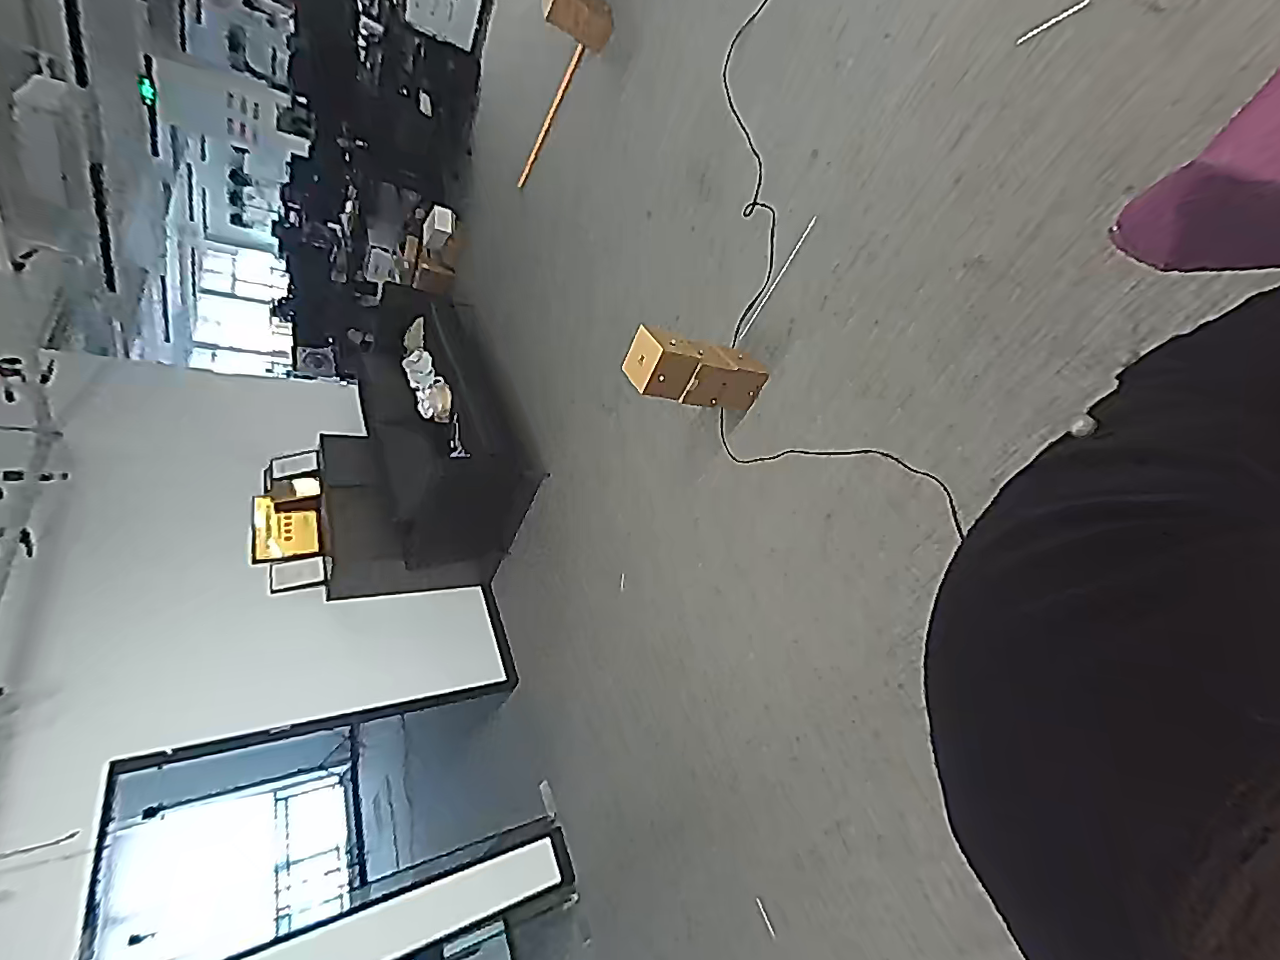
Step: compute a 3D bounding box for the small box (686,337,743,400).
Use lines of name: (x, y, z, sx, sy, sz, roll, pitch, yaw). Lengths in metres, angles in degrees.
small box: (0.238, -0.401, 1.946, 0.179, 0.176, 0.168, 59, 134, 39)

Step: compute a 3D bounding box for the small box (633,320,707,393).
small box: (0.107, -0.418, 1.850, 0.168, 0.176, 0.179, 59, 135, 38)
